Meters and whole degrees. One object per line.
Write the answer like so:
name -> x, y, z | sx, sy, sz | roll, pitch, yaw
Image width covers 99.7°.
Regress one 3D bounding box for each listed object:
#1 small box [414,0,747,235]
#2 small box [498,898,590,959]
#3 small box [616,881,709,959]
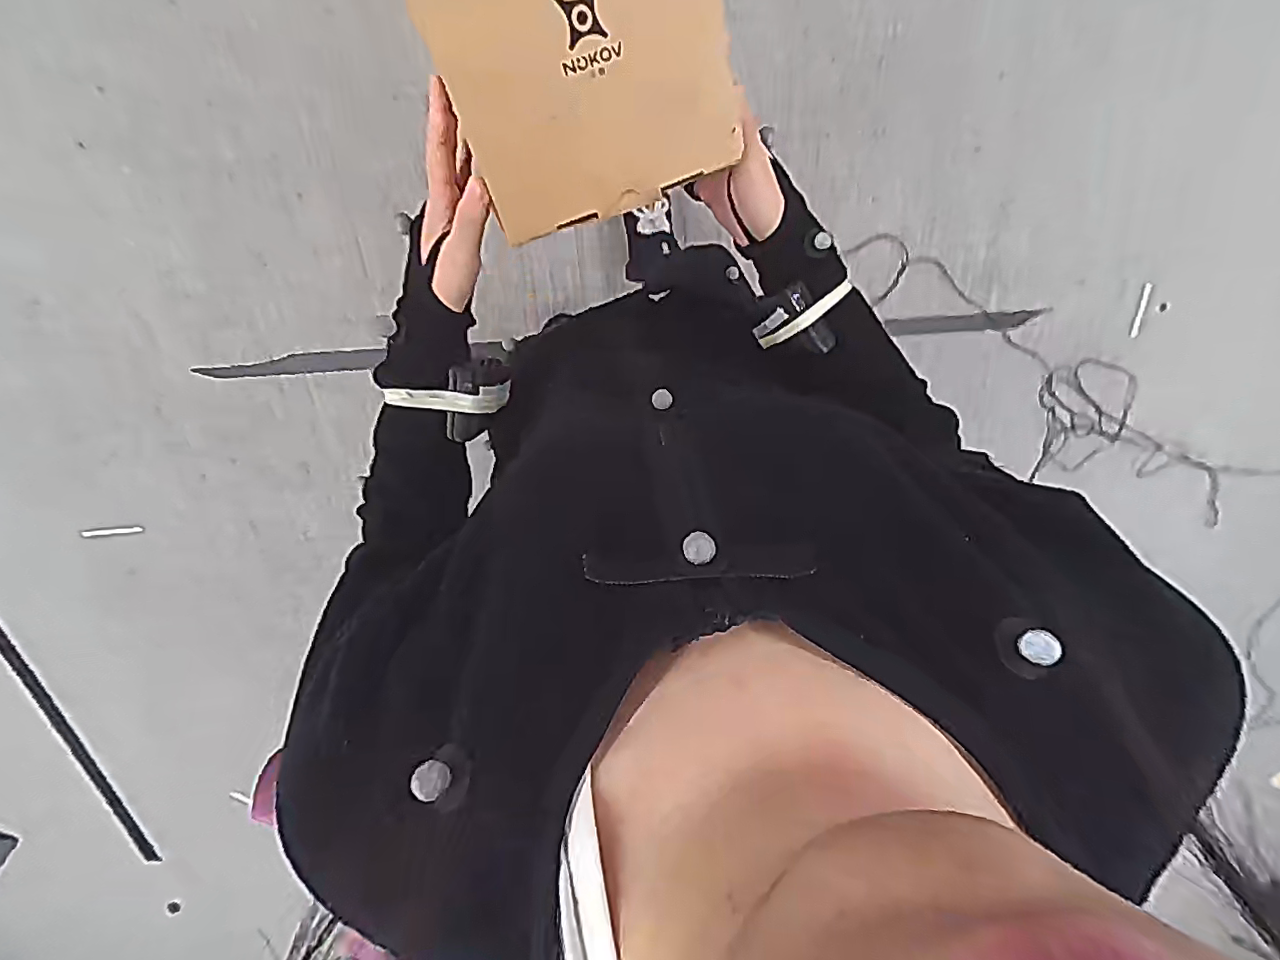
small box -> -0.049, -0.293, 0.362 | 0.168, 0.176, 0.179 | -24, 127, -5
small box -> -0.186, 0.976, 1.072 | 0.168, 0.176, 0.179 | -5, 113, -5
small box -> 0.042, 0.937, 1.080 | 0.168, 0.176, 0.179 | -5, 114, -4
